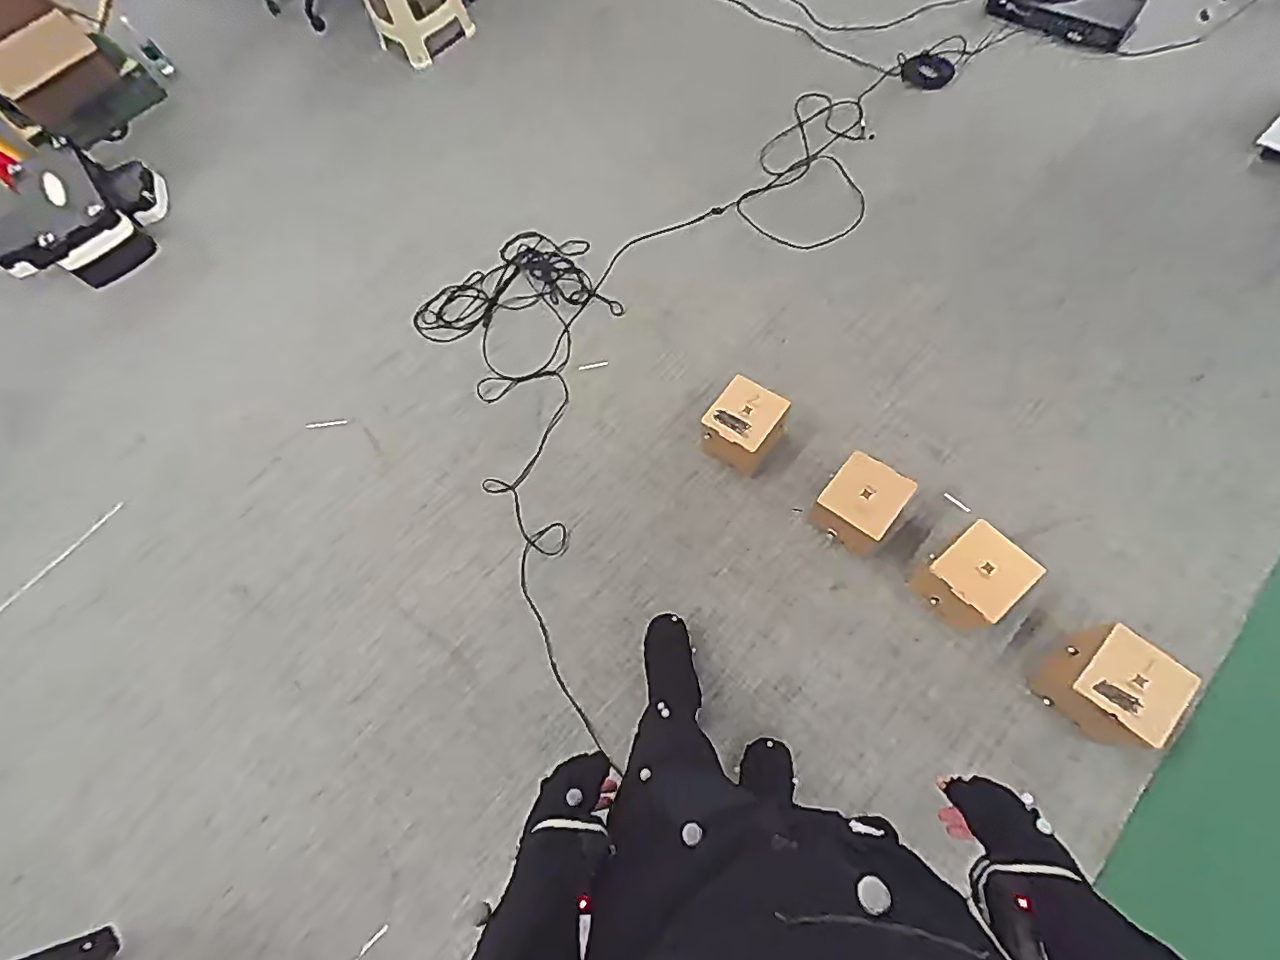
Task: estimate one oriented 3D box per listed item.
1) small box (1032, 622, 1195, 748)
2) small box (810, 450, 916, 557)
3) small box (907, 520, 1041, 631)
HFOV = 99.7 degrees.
[{"bbox_3d":[0.975,0.430,1.135,0.168,0.176,0.179,41,78,20],"label":"small box"},{"bbox_3d":[0.542,0.064,1.344,0.168,0.176,0.179,36,78,21],"label":"small box"},{"bbox_3d":[0.757,0.226,1.249,0.179,0.176,0.168,-41,69,-9],"label":"small box"}]
